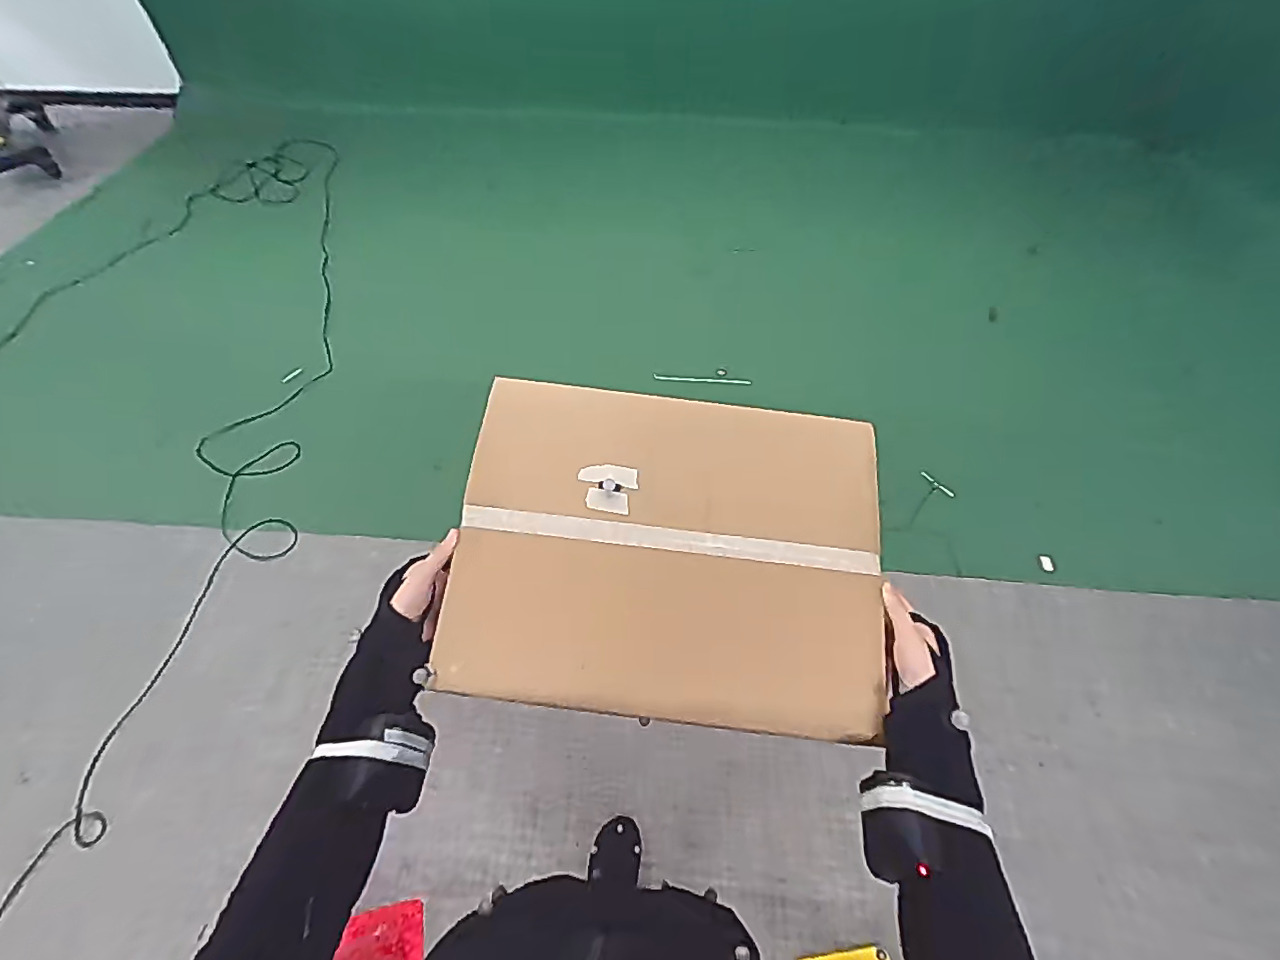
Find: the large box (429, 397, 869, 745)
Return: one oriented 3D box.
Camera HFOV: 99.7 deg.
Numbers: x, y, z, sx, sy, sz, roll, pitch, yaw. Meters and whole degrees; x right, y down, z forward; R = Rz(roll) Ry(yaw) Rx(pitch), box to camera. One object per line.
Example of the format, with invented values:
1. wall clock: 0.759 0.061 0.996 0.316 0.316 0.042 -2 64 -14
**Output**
1. large box: 0.021 0.124 0.672 0.408 0.320 0.320 7 68 1
